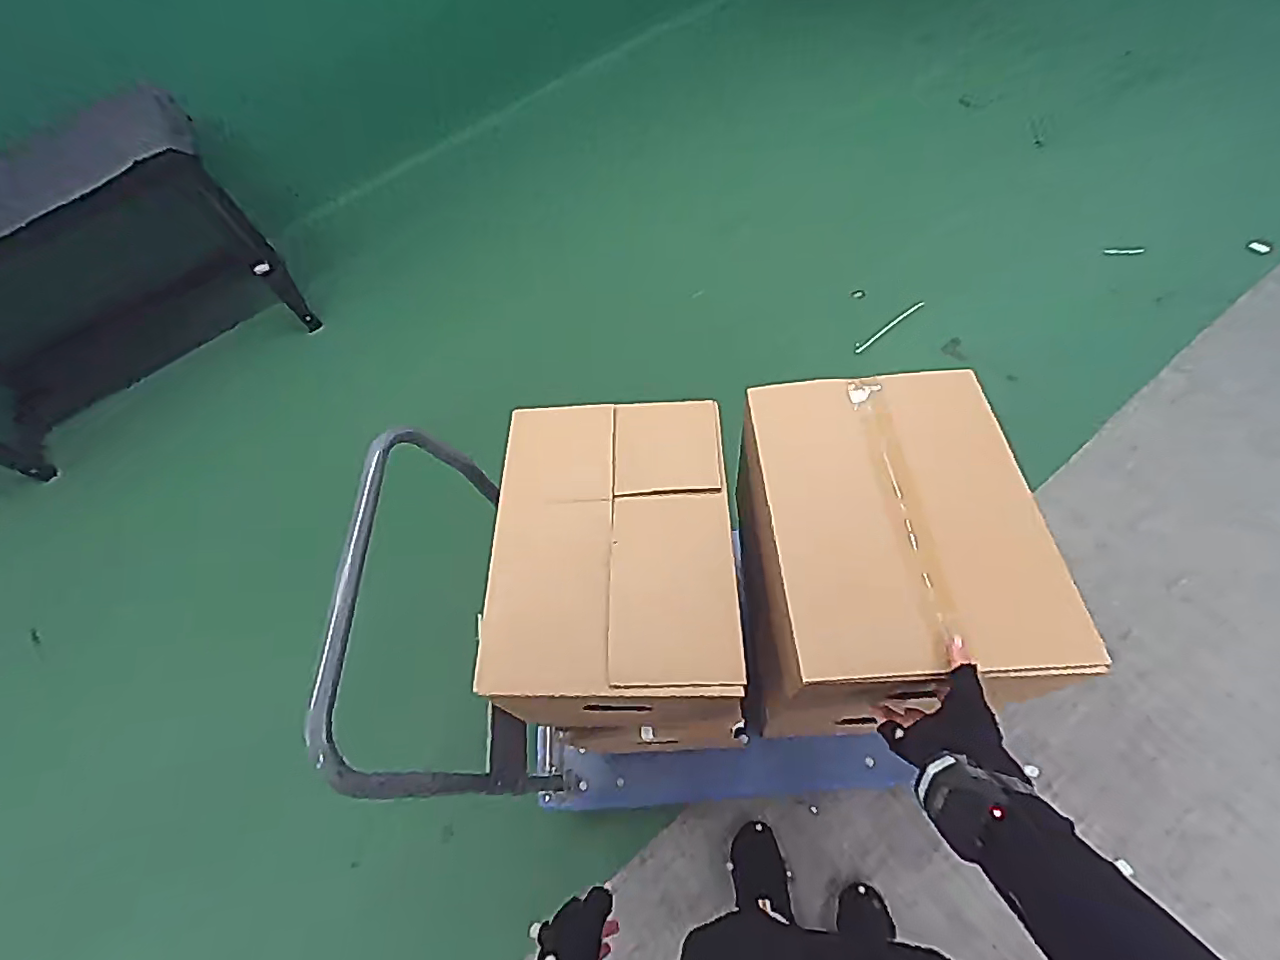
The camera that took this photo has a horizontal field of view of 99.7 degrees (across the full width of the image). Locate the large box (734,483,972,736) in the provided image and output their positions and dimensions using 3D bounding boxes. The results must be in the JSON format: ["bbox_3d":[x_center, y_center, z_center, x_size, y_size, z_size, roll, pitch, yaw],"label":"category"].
[{"bbox_3d":[0.371,0.266,1.064,0.320,0.320,0.408,-8,60,9],"label":"large box"}]
